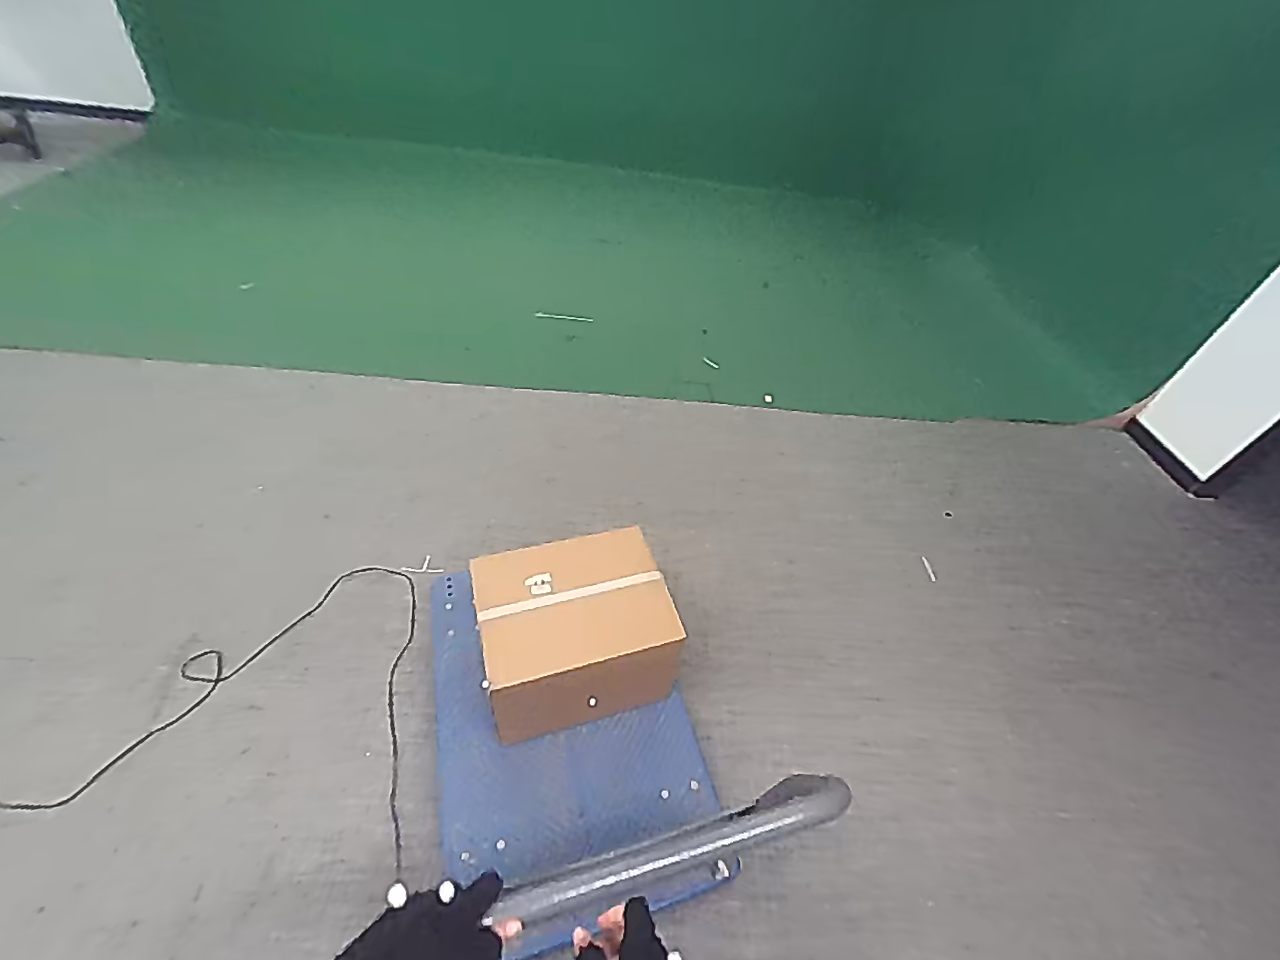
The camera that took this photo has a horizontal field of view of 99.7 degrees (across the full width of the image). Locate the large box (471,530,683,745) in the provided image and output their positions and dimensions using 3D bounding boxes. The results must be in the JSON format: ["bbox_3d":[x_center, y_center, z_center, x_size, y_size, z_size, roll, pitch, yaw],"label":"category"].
[{"bbox_3d":[-0.154,0.364,1.268,0.408,0.320,0.320,-10,47,-16],"label":"large box"}]
